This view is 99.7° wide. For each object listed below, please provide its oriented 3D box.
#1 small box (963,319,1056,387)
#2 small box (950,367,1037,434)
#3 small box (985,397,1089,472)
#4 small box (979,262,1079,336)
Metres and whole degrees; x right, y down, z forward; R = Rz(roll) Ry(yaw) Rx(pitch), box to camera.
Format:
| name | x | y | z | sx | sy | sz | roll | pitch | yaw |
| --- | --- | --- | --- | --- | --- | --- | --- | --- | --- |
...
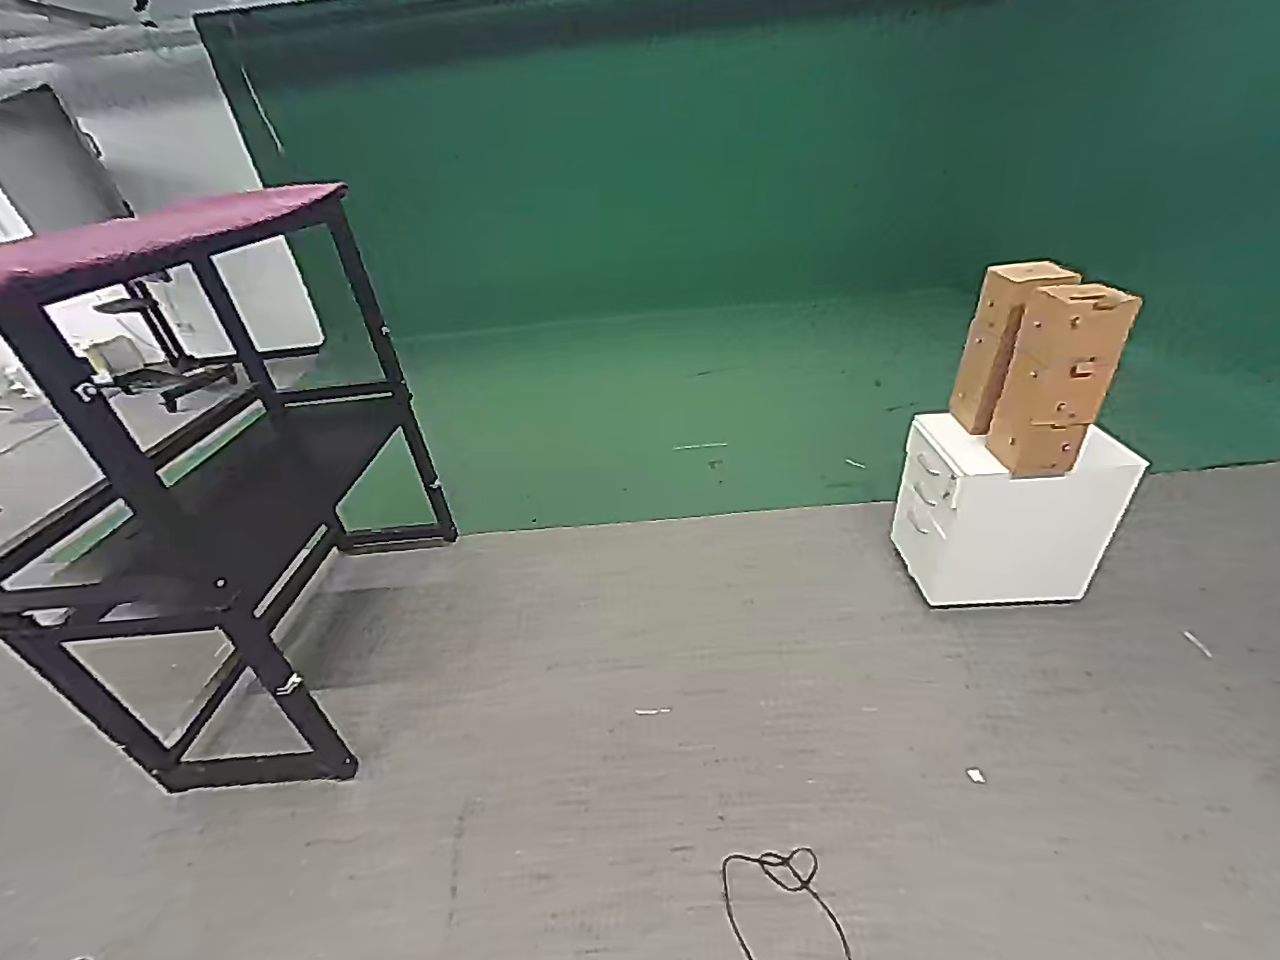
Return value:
| name | x | y | z | sx | sy | sz | roll | pitch | yaw |
| --- | --- | --- | --- | --- | --- | --- | --- | --- | --- |
| small box | 1.157 | -0.406 | 1.711 | 0.168 | 0.176 | 0.179 | -3 | 35 | 4 |
| small box | 1.167 | -0.269 | 1.803 | 0.168 | 0.176 | 0.179 | -3 | 34 | 5 |
| small box | 1.163 | -0.132 | 1.599 | 0.168 | 0.176 | 0.179 | -2 | 31 | 3 |
| small box | 1.146 | -0.539 | 1.614 | 0.179 | 0.176 | 0.168 | -3 | 35 | 4 |
